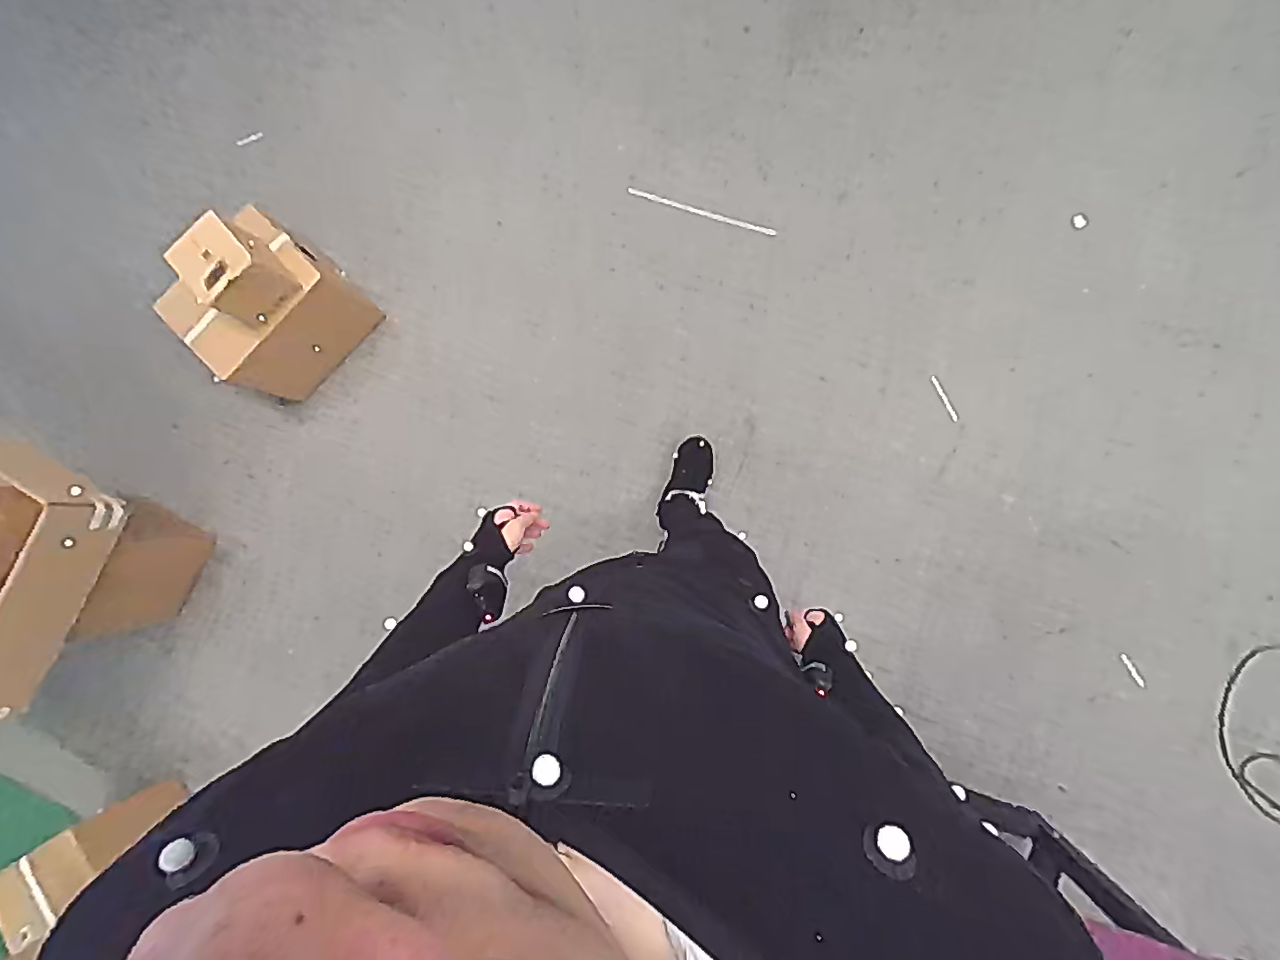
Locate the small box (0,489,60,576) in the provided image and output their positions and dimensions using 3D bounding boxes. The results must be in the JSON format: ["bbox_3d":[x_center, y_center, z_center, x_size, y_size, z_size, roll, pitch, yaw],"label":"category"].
[{"bbox_3d":[-1.566,0.124,1.281,0.179,0.176,0.168,29,90,5],"label":"small box"}]

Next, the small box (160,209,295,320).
[{"bbox_3d":[-1.028,-0.529,1.365,0.168,0.176,0.179,-42,86,2],"label":"small box"}]

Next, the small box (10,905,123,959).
[{"bbox_3d":[-1.445,1.210,1.322,0.179,0.176,0.168,-35,85,2],"label":"small box"}]

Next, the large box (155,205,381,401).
[{"bbox_3d":[-1.083,-0.504,1.617,0.320,0.320,0.408,44,93,6],"label":"large box"}]
